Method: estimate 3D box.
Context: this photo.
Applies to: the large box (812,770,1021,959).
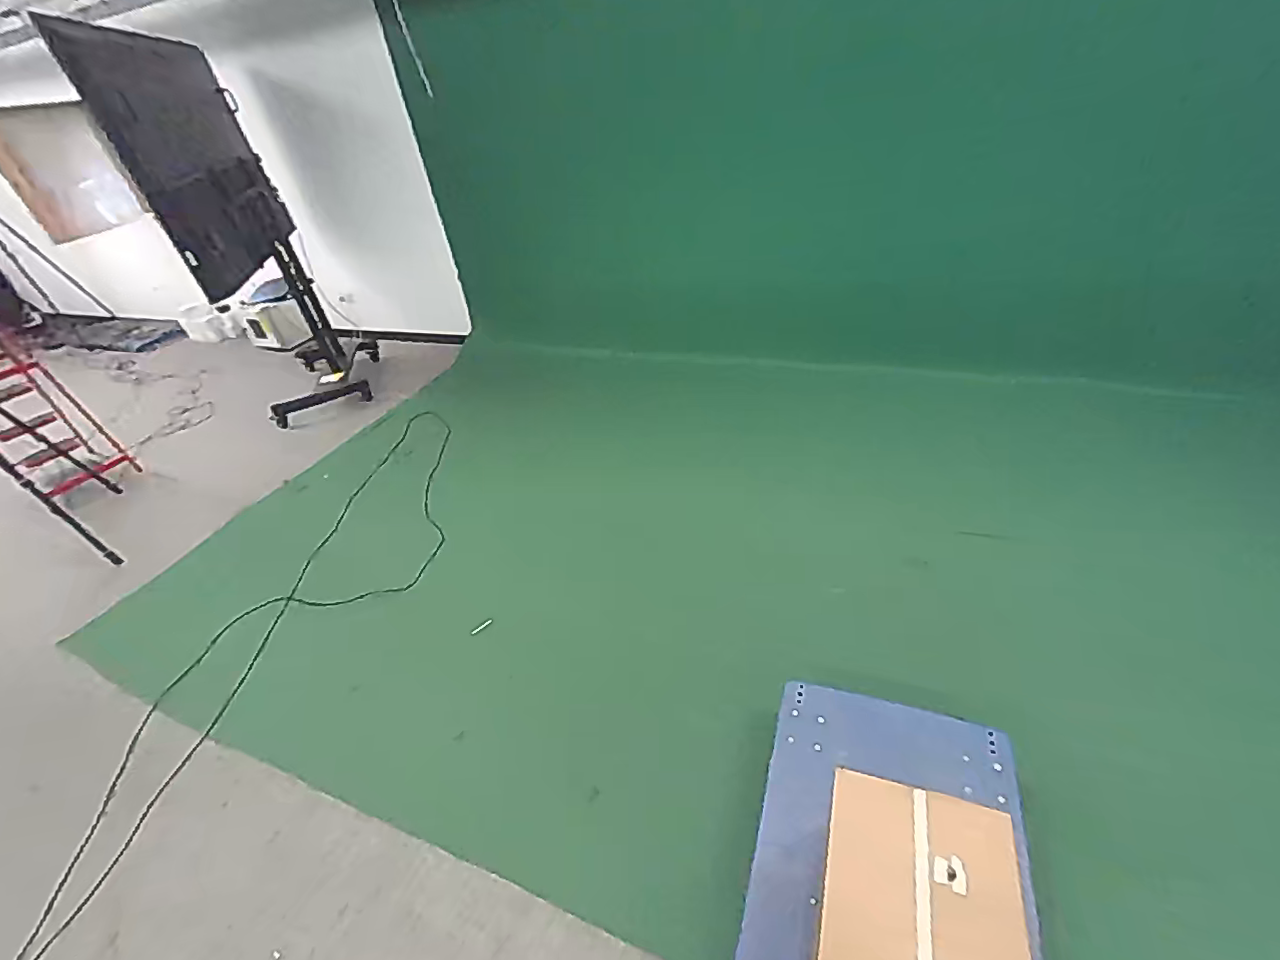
[{"bbox_3d":[0.495,0.856,1.019,0.320,0.320,0.408,7,39,21],"label":"large box"}]
